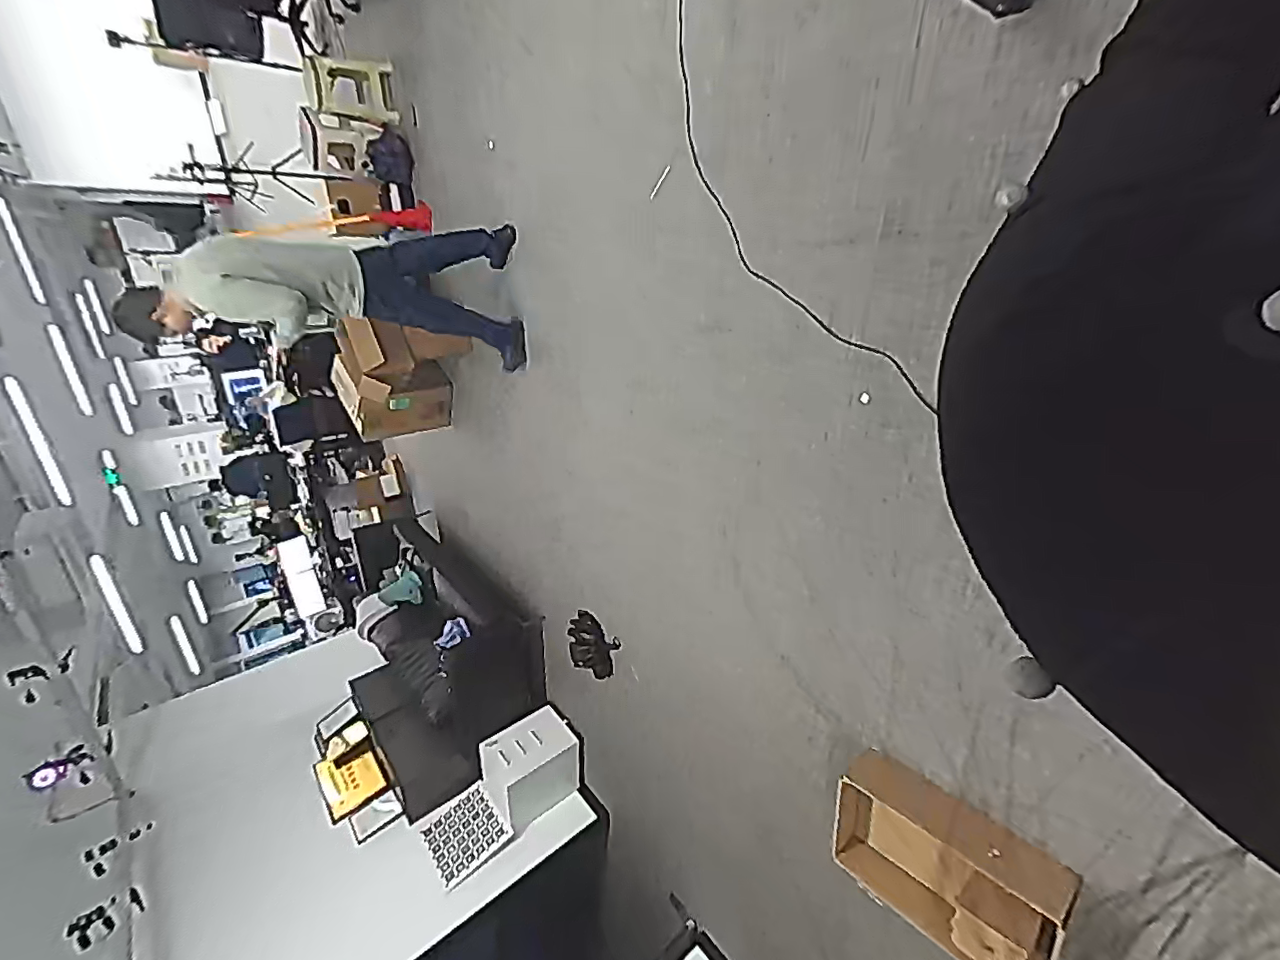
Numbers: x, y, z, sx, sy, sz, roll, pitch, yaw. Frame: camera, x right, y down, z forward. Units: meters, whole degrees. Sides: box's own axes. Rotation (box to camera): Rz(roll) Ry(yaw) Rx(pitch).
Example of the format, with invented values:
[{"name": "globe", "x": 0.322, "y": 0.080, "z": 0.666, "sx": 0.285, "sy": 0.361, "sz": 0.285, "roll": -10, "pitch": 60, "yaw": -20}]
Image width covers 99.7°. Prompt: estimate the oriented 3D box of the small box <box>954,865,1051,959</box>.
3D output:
[{"name": "small box", "x": 1.029, "y": 1.249, "z": 1.539, "sx": 0.179, "sy": 0.176, "sz": 0.168, "roll": 17, "pitch": 119, "yaw": 49}]
